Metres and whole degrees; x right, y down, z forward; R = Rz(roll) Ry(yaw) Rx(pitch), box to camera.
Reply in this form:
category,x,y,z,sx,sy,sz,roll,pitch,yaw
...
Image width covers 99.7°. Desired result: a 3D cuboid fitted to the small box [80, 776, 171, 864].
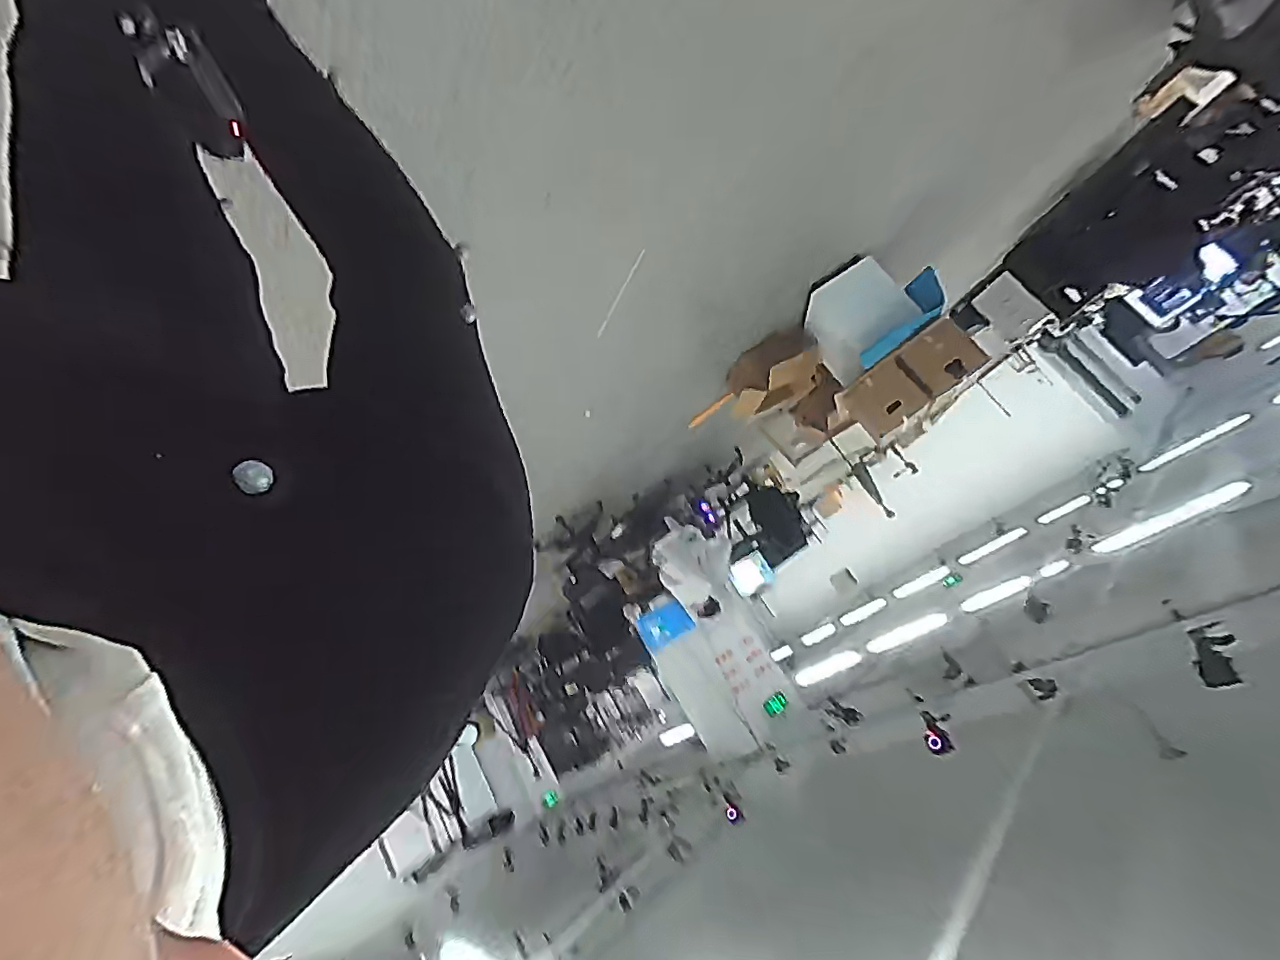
category,x,y,z,sx,sy,sz,roll,pitch,yaw
small box,-1.601,1.057,1.688,0.168,0.176,0.179,-18,157,-41
